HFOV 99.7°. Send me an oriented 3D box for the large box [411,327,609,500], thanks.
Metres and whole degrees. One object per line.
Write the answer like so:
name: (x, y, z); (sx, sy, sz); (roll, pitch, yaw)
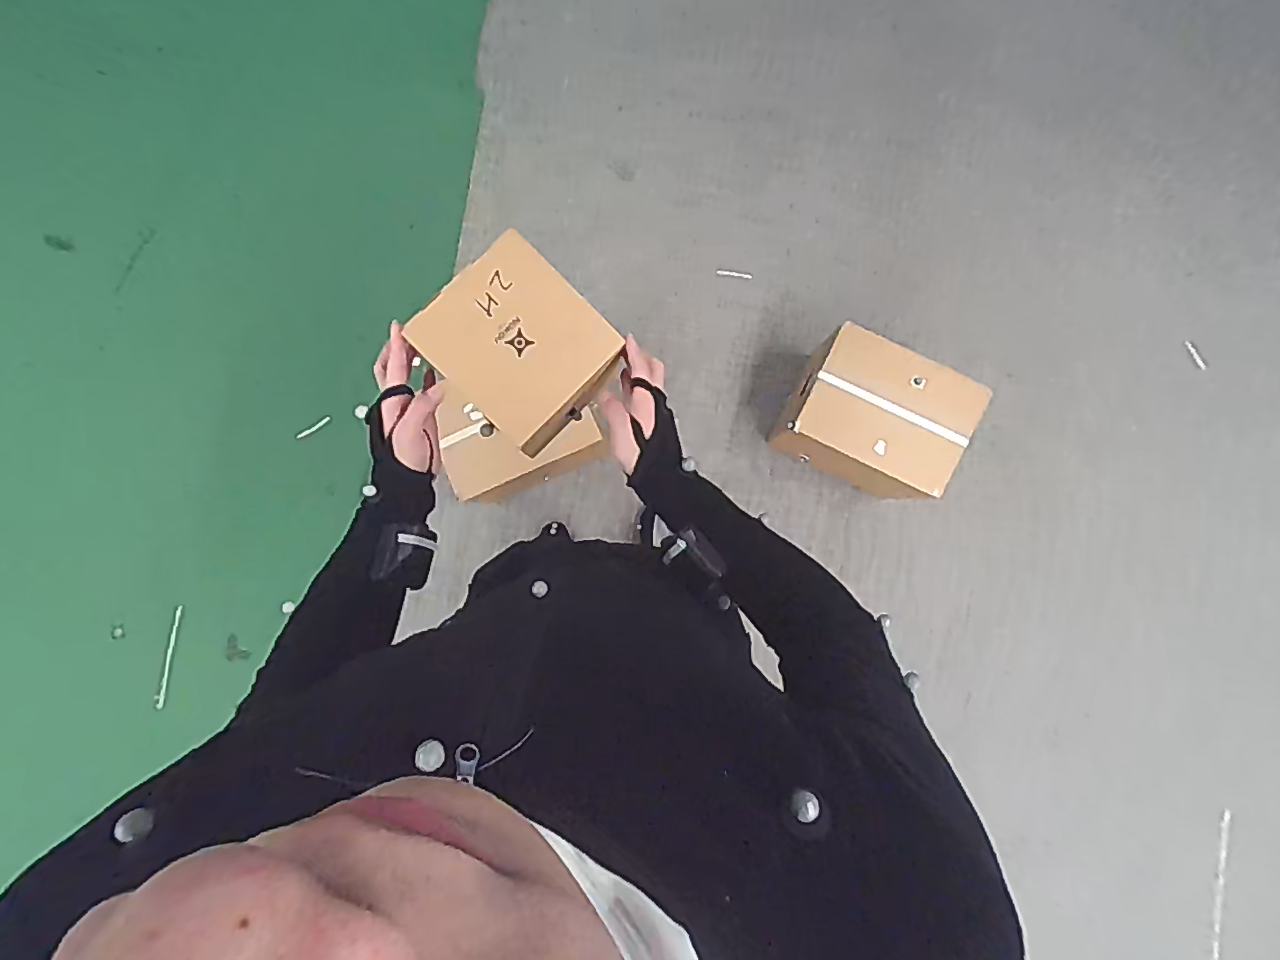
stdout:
large box: (-0.338, -0.165, 1.513); (0.408, 0.320, 0.320); (-25, 86, 1)
